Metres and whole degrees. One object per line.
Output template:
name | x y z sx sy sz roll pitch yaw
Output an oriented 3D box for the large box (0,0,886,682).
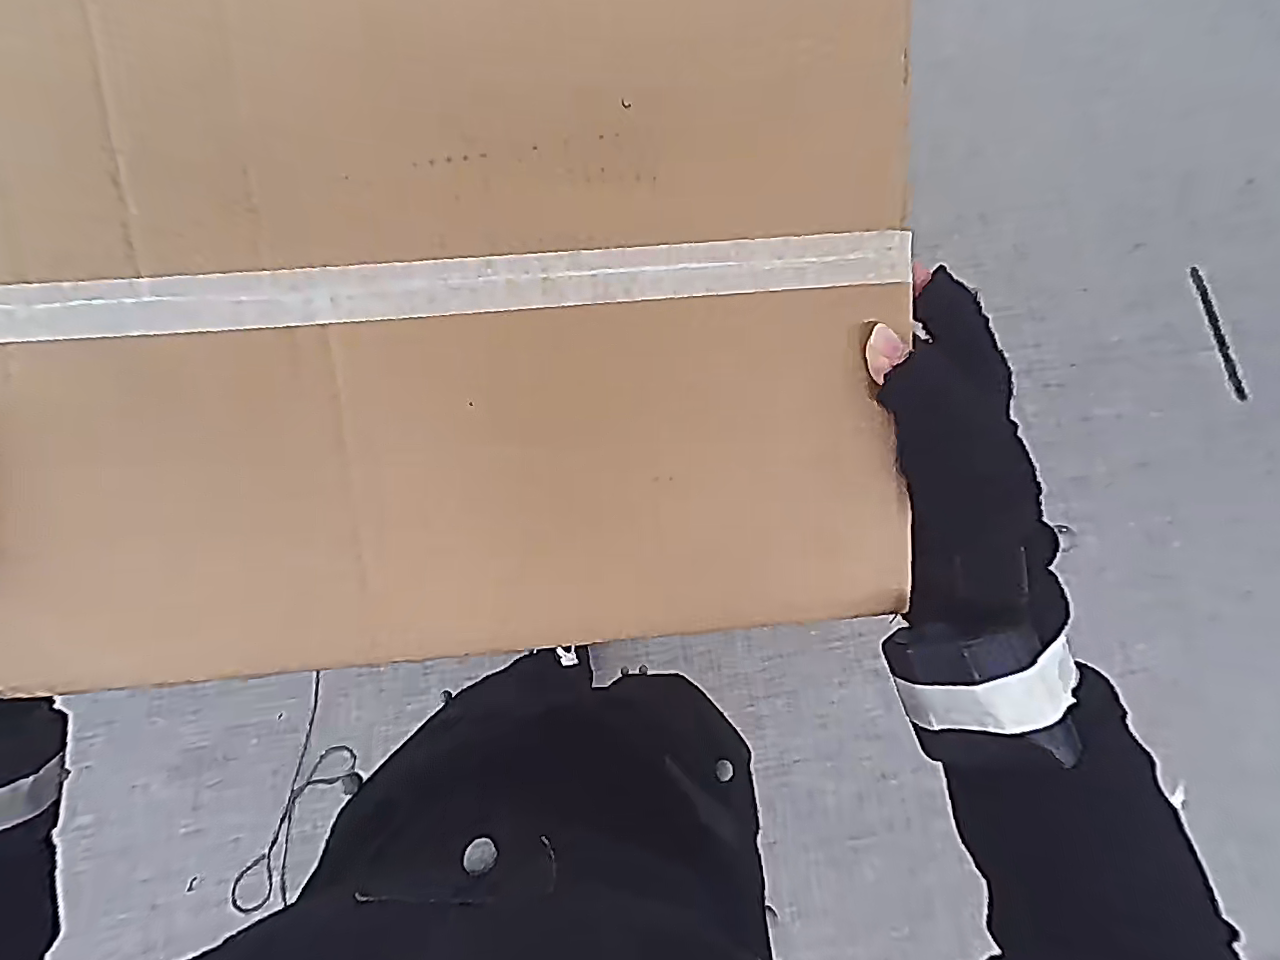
large box | -0.098 -0.099 0.376 0.408 0.320 0.320 -4 98 -4
